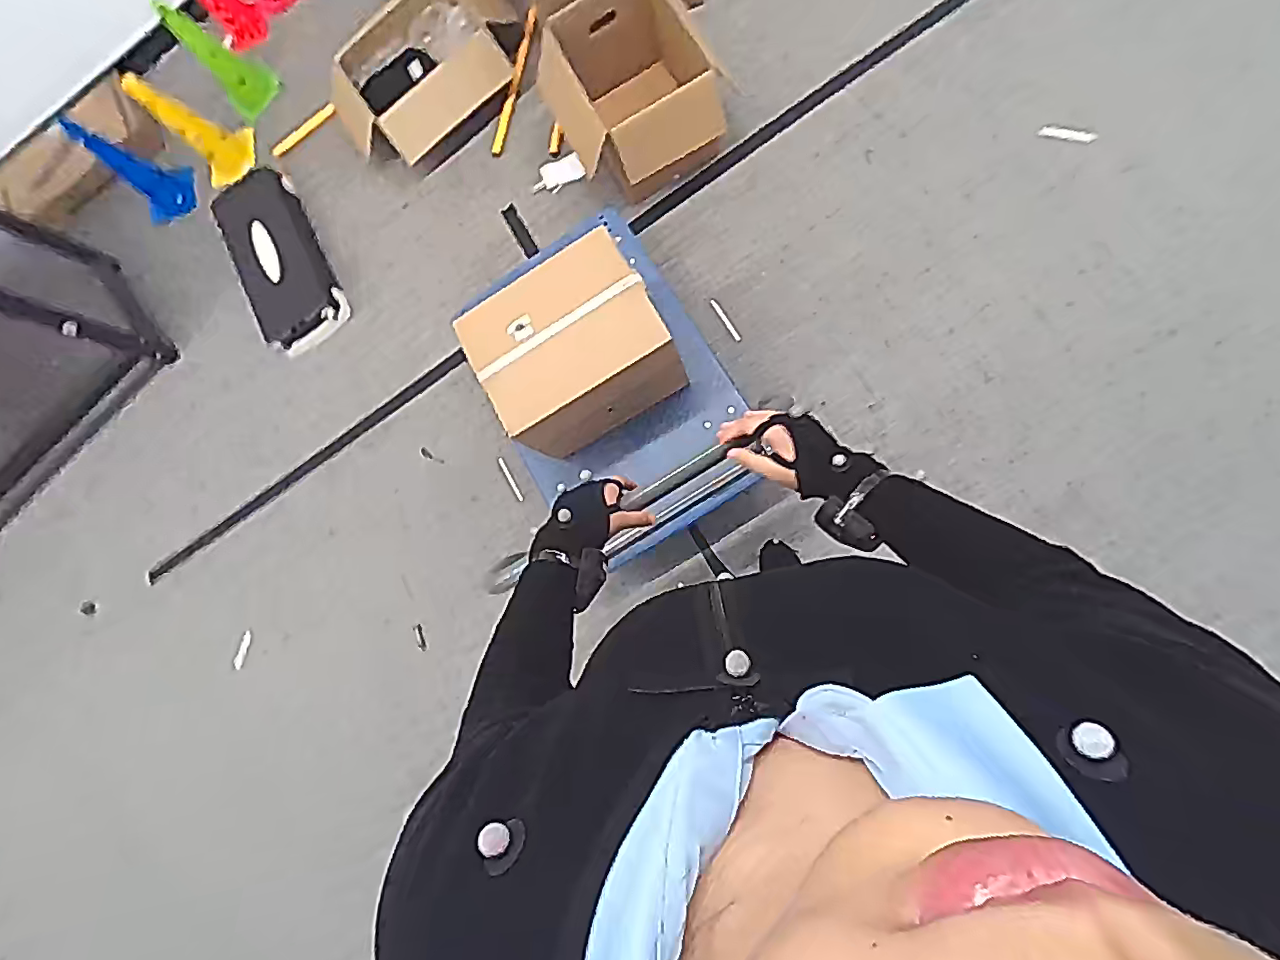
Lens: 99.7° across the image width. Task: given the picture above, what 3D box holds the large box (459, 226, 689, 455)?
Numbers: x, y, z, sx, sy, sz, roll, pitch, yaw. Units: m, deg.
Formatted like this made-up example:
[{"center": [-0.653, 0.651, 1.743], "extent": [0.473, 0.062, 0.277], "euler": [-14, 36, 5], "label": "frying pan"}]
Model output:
[{"center": [-0.141, -0.309, 1.312], "extent": [0.408, 0.320, 0.320], "euler": [-31, 77, 7], "label": "large box"}]
